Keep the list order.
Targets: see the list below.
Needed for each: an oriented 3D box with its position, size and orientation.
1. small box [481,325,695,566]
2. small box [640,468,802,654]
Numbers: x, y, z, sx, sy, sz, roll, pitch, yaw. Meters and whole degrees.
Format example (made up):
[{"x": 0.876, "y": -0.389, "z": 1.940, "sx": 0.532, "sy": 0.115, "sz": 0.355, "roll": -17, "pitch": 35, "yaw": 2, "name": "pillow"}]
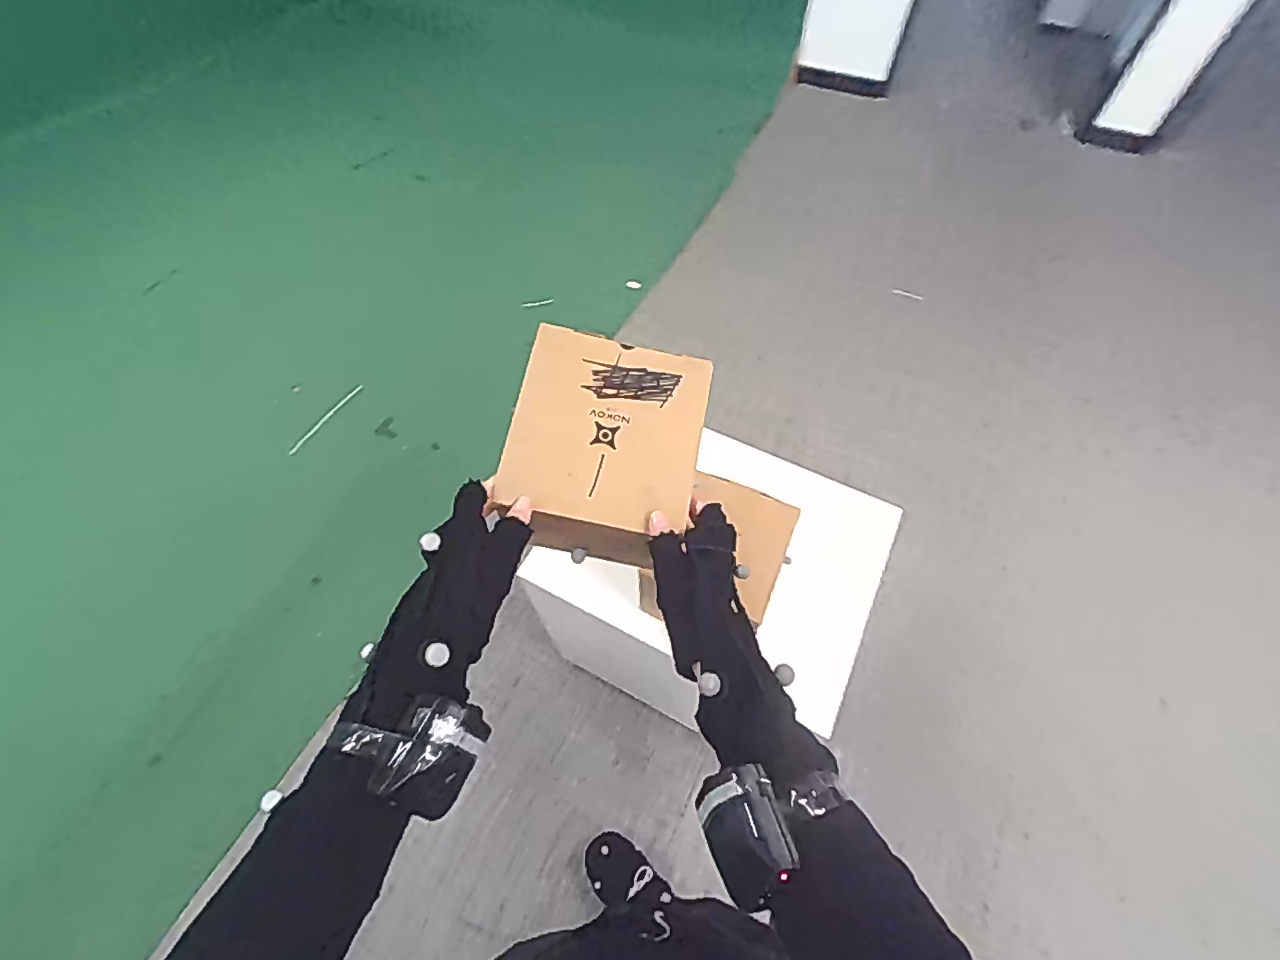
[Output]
[{"x": -0.047, "y": -0.023, "z": 0.541, "sx": 0.168, "sy": 0.176, "sz": 0.179, "roll": 8, "pitch": 71, "yaw": -3, "name": "small box"}, {"x": 0.109, "y": 0.118, "z": 0.762, "sx": 0.168, "sy": 0.176, "sz": 0.179, "roll": 21, "pitch": 63, "yaw": 14, "name": "small box"}]
